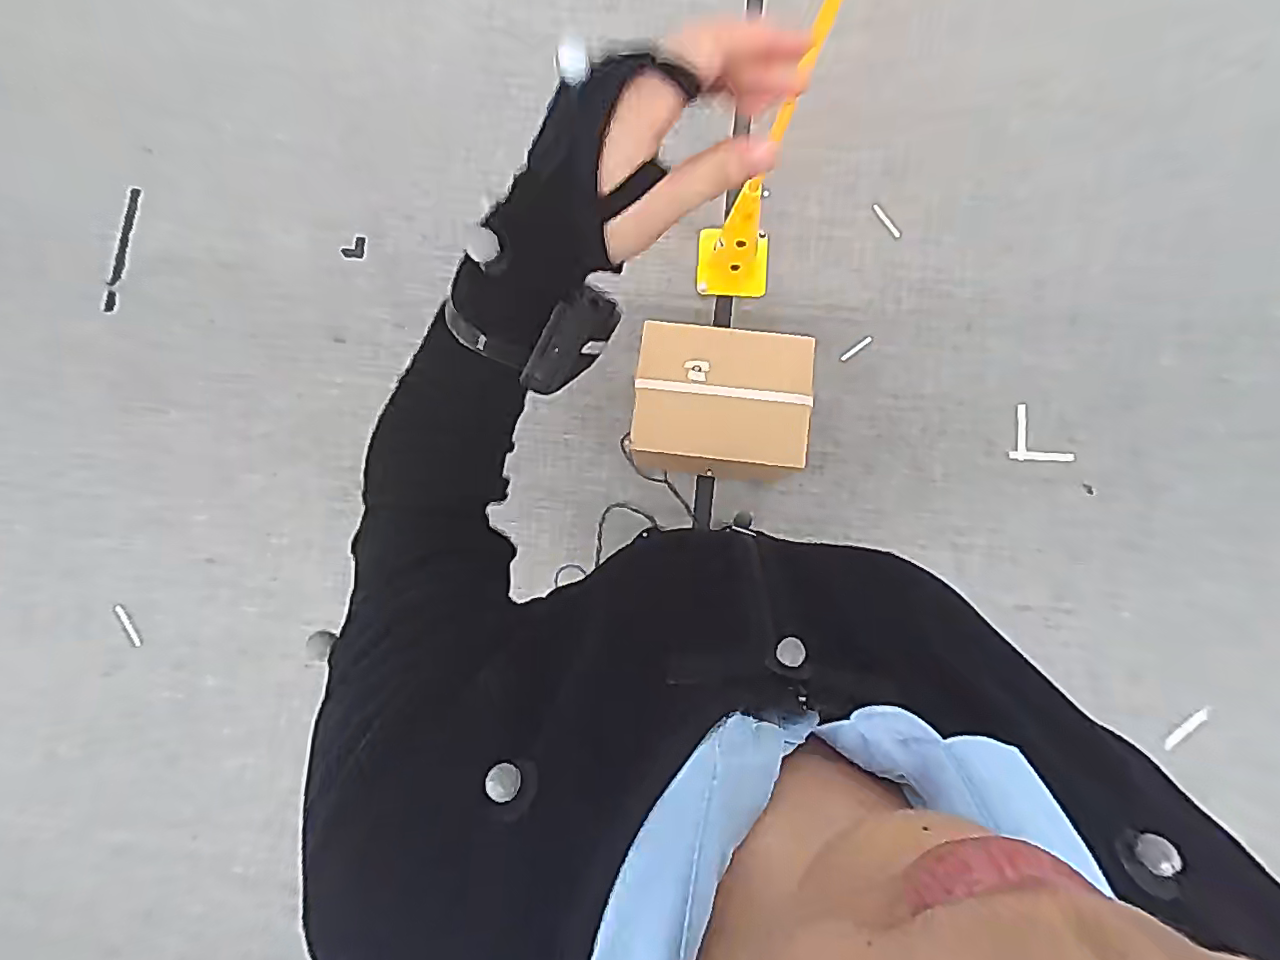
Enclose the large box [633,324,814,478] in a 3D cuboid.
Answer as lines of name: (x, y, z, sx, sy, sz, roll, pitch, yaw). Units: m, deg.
large box: (0.206, -0.186, 1.402, 0.408, 0.320, 0.320, 6, 83, 4)
